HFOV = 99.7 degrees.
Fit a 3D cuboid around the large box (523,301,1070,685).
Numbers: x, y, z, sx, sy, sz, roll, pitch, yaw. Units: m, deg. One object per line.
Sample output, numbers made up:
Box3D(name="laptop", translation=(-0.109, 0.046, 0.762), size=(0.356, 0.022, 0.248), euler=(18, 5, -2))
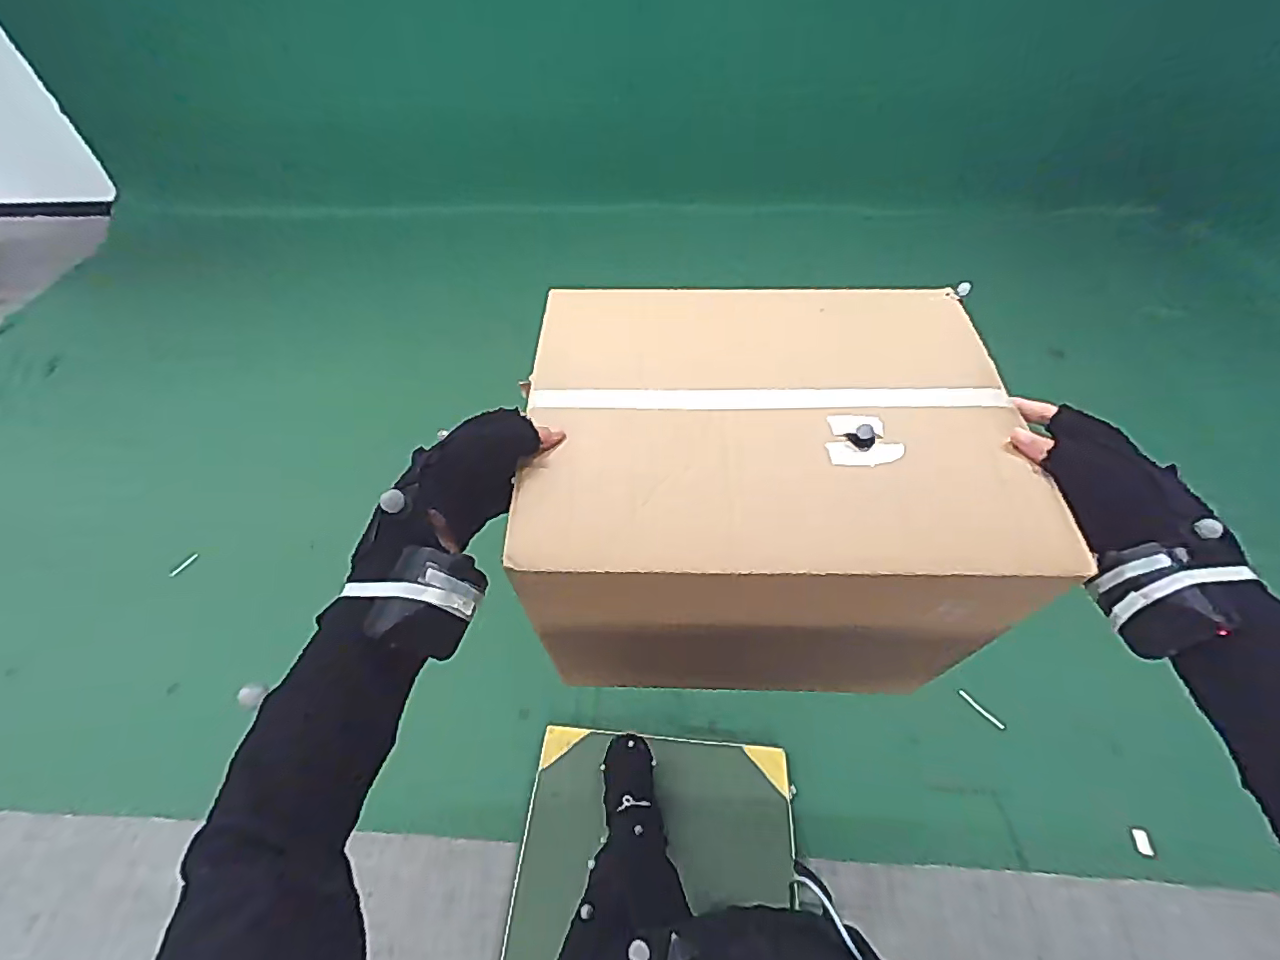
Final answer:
Box3D(name="large box", translation=(0.111, 0.024, 0.592), size=(0.408, 0.320, 0.320), euler=(1, 55, 0))
